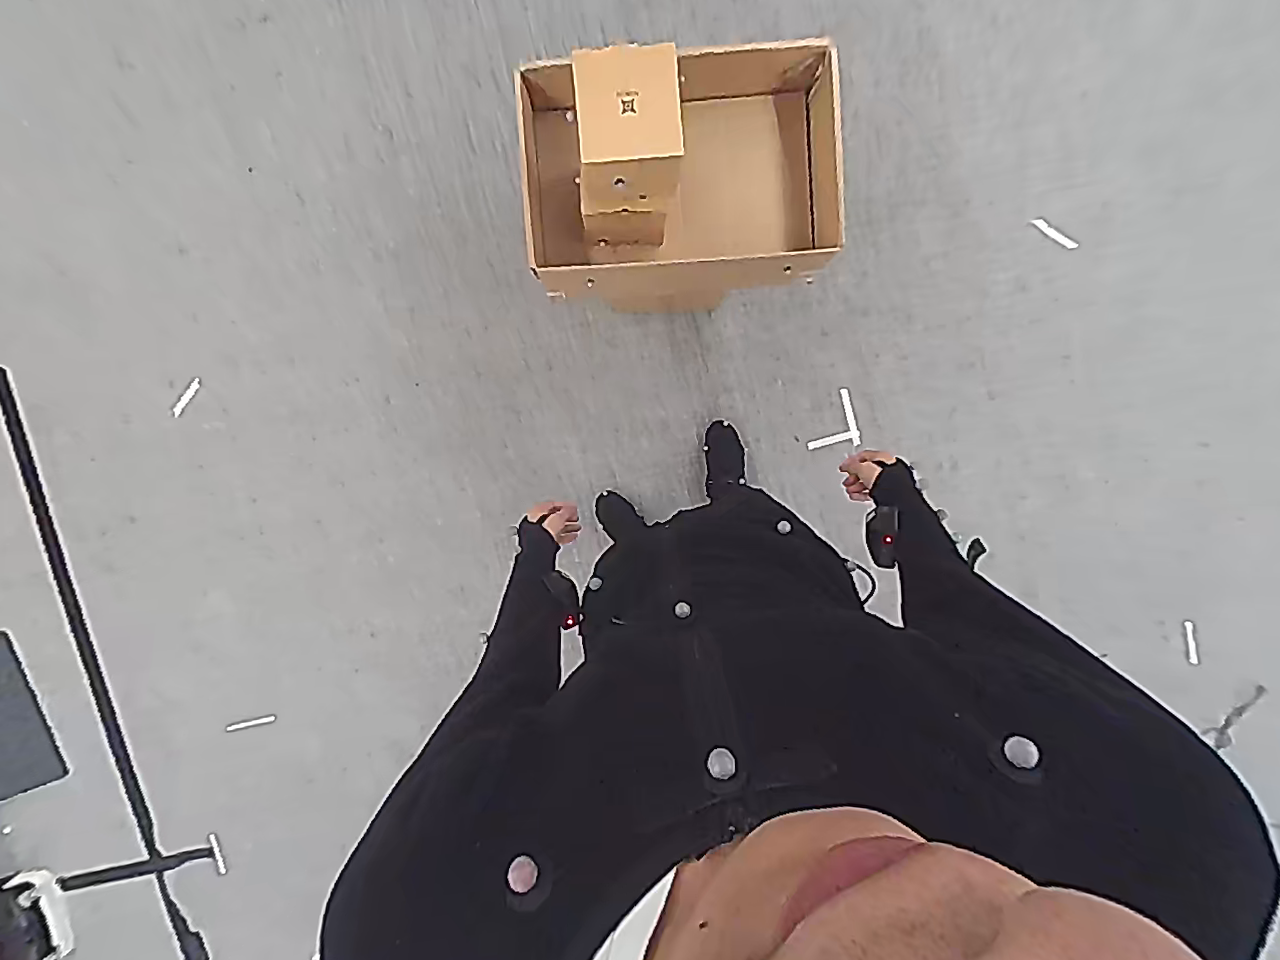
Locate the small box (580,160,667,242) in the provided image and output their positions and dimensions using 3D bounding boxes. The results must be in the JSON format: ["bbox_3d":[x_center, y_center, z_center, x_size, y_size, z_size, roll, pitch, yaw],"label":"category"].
[{"bbox_3d":[-0.030,-0.593,1.088,0.168,0.176,0.179,-1,93,-1],"label":"small box"}]

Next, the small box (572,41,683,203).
[{"bbox_3d":[-0.019,-0.595,0.925,0.168,0.176,0.179,-5,93,-1],"label":"small box"}]
